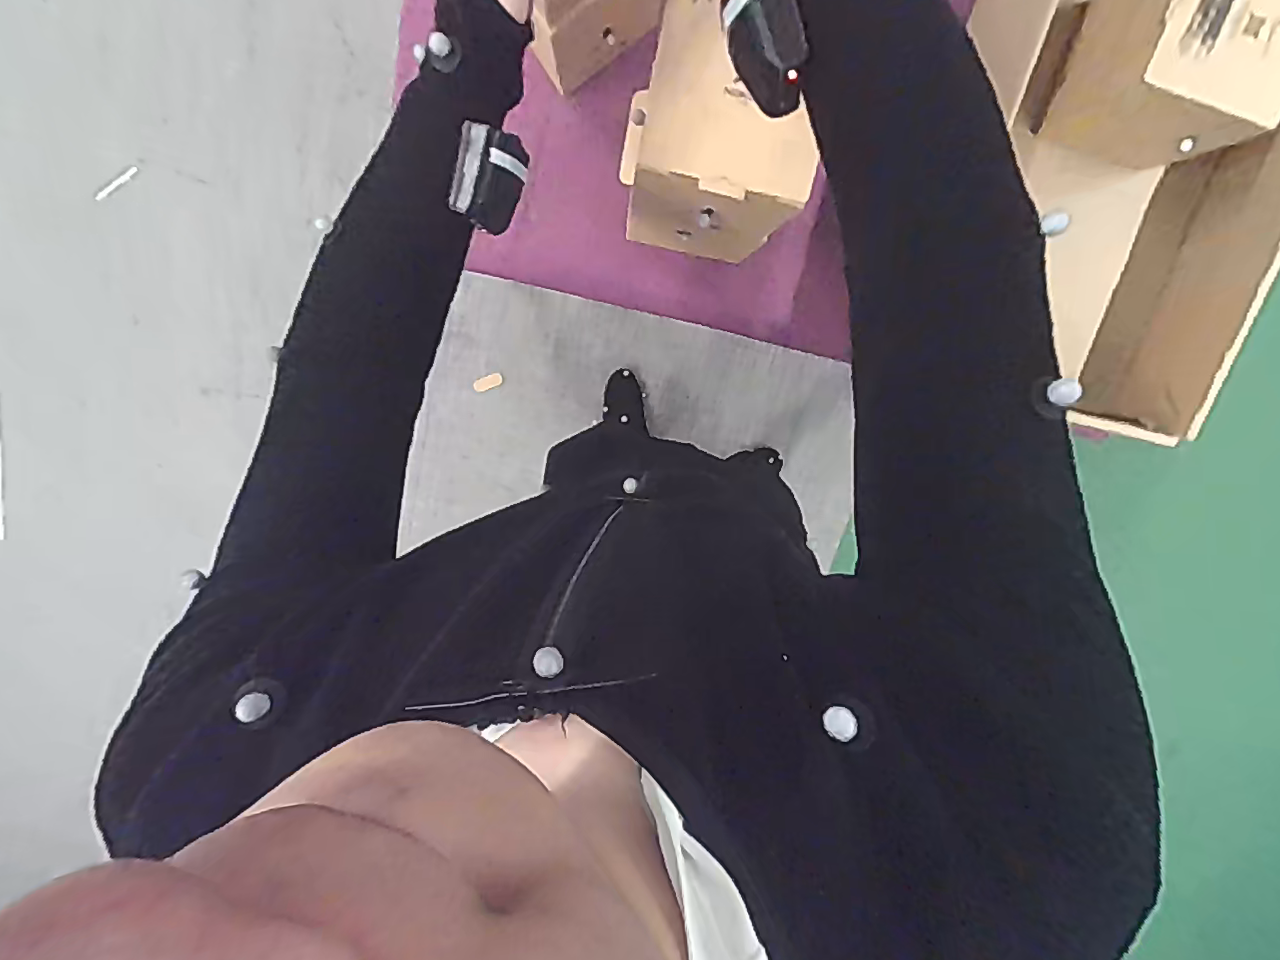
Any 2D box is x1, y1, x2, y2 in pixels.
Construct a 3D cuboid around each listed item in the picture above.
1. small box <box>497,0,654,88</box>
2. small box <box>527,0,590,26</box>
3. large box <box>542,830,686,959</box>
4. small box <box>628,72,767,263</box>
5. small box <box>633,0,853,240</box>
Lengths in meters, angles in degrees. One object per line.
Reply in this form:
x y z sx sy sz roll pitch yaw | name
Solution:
-0.089 -0.626 0.661 0.168 0.176 0.179 -35 103 5 | small box
-0.075 -0.589 0.503 0.179 0.176 0.168 -34 104 6 | small box
-0.087 1.512 1.878 0.408 0.320 0.320 -18 104 1 | large box
0.081 -0.401 0.724 0.179 0.176 0.168 9 103 -5 | small box
0.089 -0.368 0.564 0.168 0.176 0.179 11 103 -6 | small box
